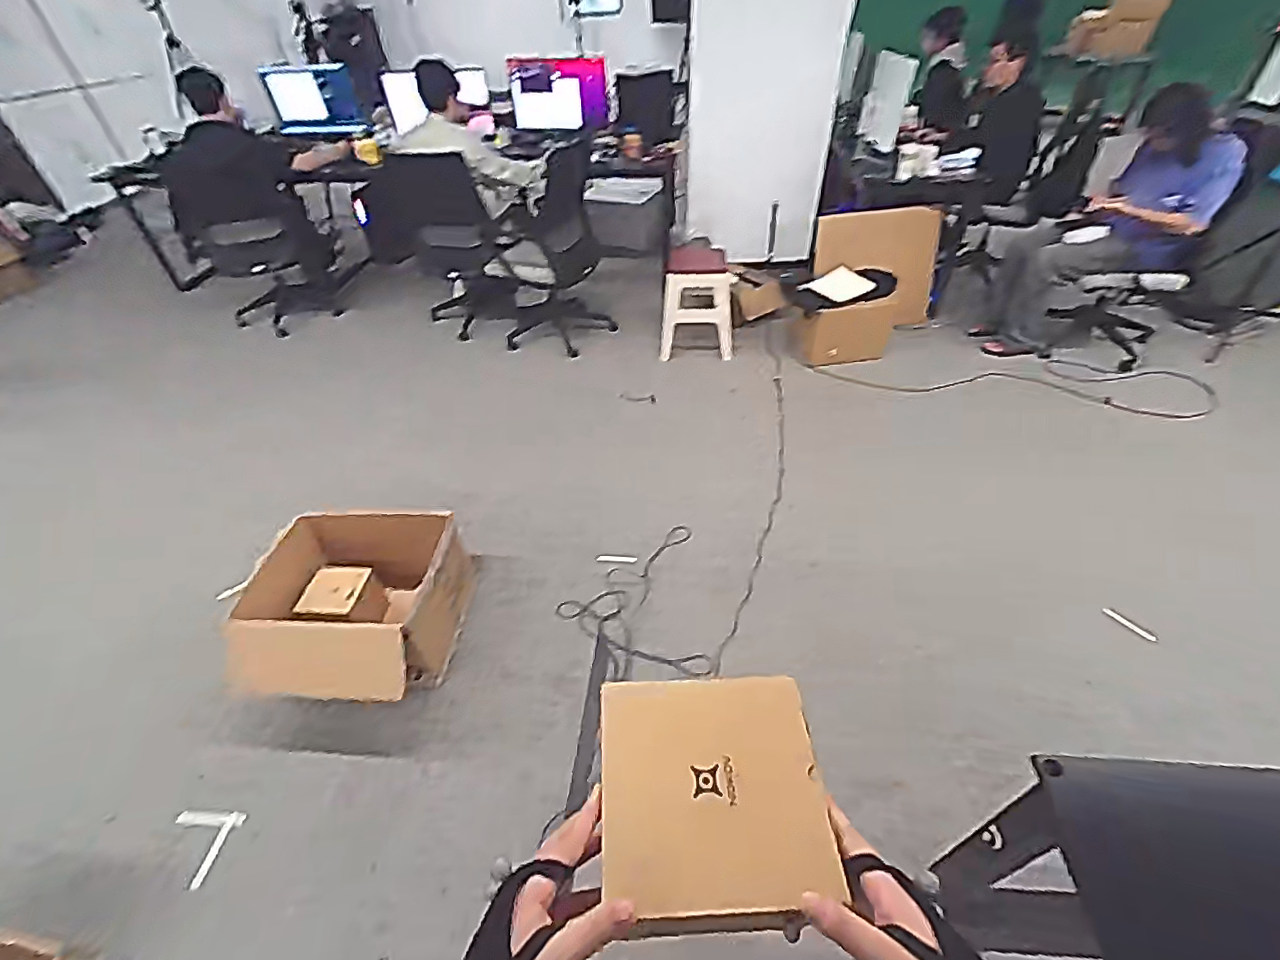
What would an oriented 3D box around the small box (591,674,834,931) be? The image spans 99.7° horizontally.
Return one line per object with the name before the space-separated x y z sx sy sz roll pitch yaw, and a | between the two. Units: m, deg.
small box | 0.048 0.293 0.491 0.179 0.176 0.168 -1 47 -3
